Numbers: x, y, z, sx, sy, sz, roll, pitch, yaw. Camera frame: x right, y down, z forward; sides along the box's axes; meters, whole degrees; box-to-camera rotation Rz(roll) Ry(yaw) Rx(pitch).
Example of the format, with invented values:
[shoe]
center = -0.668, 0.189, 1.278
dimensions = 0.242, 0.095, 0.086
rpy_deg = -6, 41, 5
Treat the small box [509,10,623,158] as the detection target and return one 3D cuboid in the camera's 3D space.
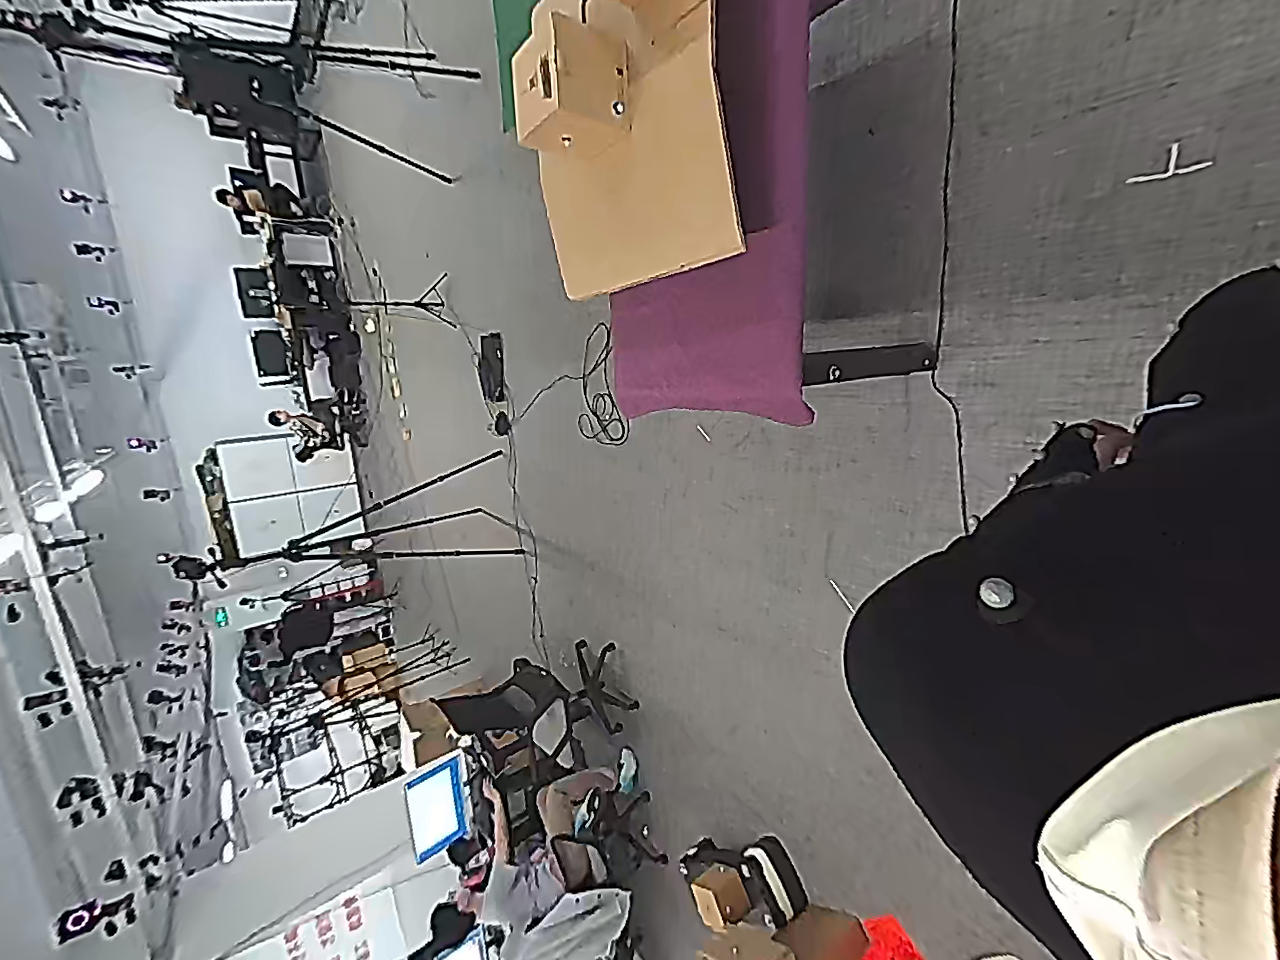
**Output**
[small box]
center = -0.144, -0.782, 1.090
dimensions = 0.179, 0.176, 0.168
rpy_deg = 9, 104, 52
